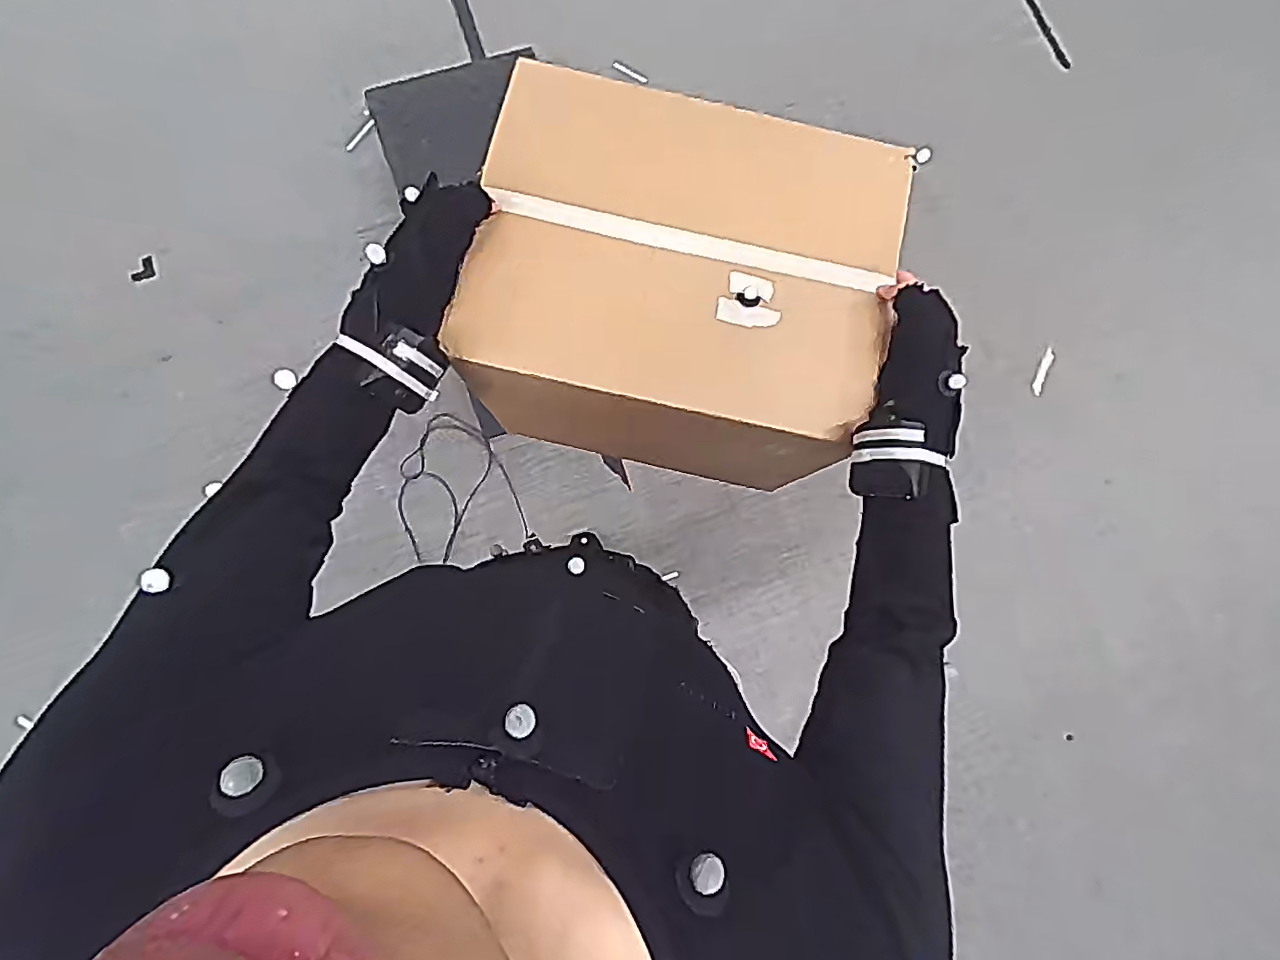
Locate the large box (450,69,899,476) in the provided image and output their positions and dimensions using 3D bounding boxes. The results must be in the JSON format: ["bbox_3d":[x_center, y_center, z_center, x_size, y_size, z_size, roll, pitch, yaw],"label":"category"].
[{"bbox_3d":[0.035,-0.211,0.673,0.408,0.320,0.320,12,82,-1],"label":"large box"}]

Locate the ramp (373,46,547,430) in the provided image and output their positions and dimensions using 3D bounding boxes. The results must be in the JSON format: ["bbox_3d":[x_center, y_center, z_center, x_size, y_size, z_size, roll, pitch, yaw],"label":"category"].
[{"bbox_3d":[-0.352,-0.686,1.541,0.509,0.206,0.991,-21,82,-5],"label":"ramp"}]
